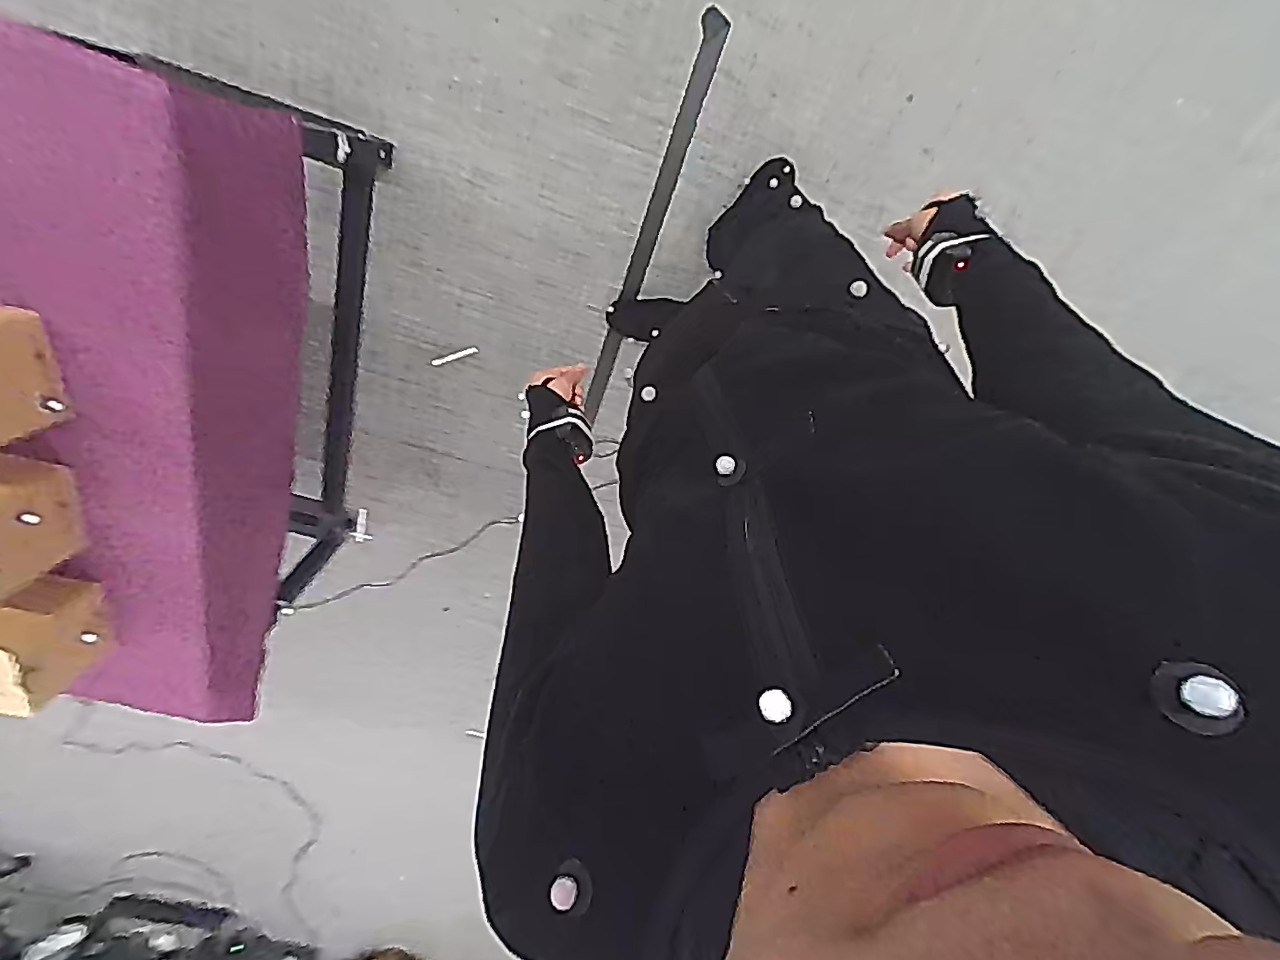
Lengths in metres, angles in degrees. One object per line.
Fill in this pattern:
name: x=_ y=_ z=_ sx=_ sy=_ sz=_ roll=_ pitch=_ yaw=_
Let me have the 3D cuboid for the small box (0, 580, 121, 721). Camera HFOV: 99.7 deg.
small box: x=-1.101 y=0.293 z=0.966 sx=0.179 sy=0.176 sz=0.168 roll=12 pitch=117 yaw=-6

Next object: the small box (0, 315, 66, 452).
small box: x=-0.963 y=-0.137 z=0.745 sx=0.179 sy=0.176 sz=0.168 roll=9 pitch=117 yaw=-4

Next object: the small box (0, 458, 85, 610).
small box: x=-1.044 y=0.075 z=0.856 sx=0.179 sy=0.176 sz=0.168 roll=14 pitch=116 yaw=-7
